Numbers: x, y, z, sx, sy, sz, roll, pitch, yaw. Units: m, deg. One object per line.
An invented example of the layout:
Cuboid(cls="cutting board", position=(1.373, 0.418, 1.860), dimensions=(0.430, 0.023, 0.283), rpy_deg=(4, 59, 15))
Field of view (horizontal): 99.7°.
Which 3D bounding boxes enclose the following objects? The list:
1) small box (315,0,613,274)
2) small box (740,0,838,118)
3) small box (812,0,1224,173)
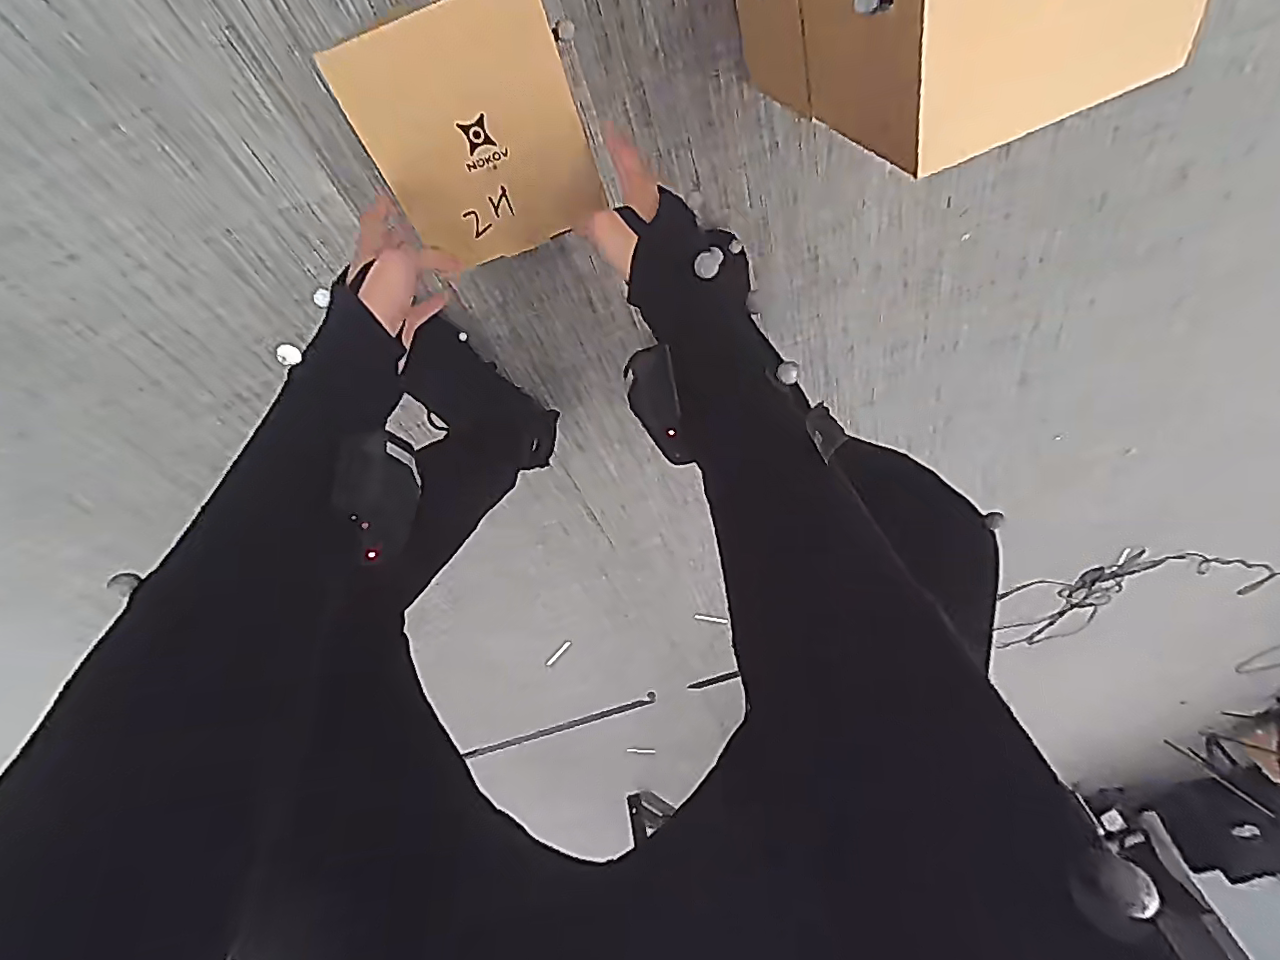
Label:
Cuboid(cls="small box", position=(-0.137, -0.319, 0.472), dimensions=(0.168, 0.176, 0.179), rpy_deg=(-19, 136, 5))
Cuboid(cls="small box", position=(0.180, -0.439, 0.436), dimensions=(0.168, 0.176, 0.179), rpy_deg=(-21, 135, 7))
Cuboid(cls="small box", position=(0.212, -0.327, 0.323), dimensions=(0.168, 0.176, 0.179), rpy_deg=(-21, 135, 6))
